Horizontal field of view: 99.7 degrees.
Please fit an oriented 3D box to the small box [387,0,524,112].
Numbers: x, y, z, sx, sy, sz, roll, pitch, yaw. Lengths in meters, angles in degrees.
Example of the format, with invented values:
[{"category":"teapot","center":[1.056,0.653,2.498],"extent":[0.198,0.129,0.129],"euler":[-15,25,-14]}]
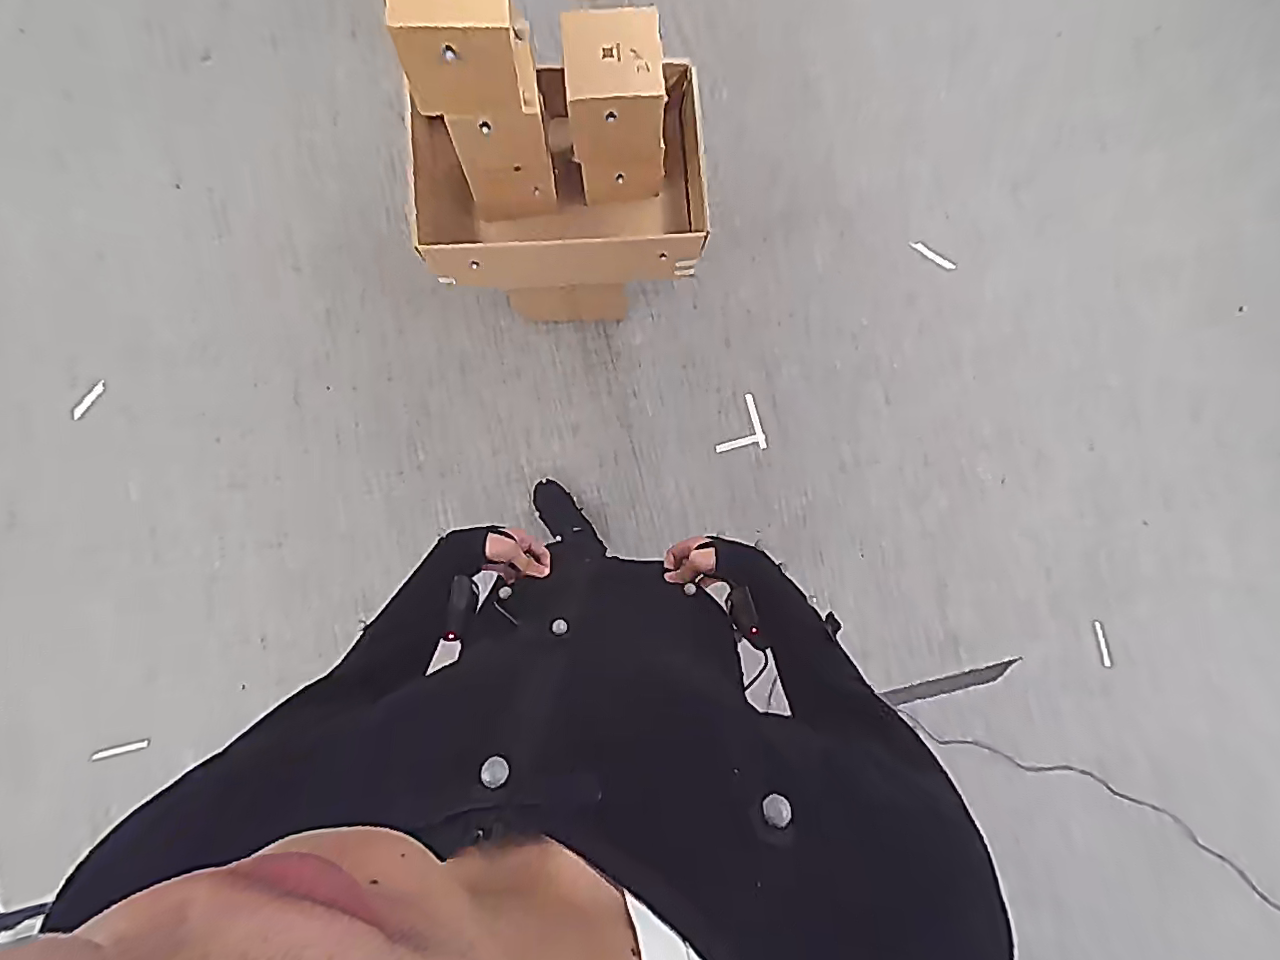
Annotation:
[{"category":"small box","center":[-0.278,-0.712,0.845],"extent":[0.179,0.176,0.168],"euler":[-4,86,-4]}]
